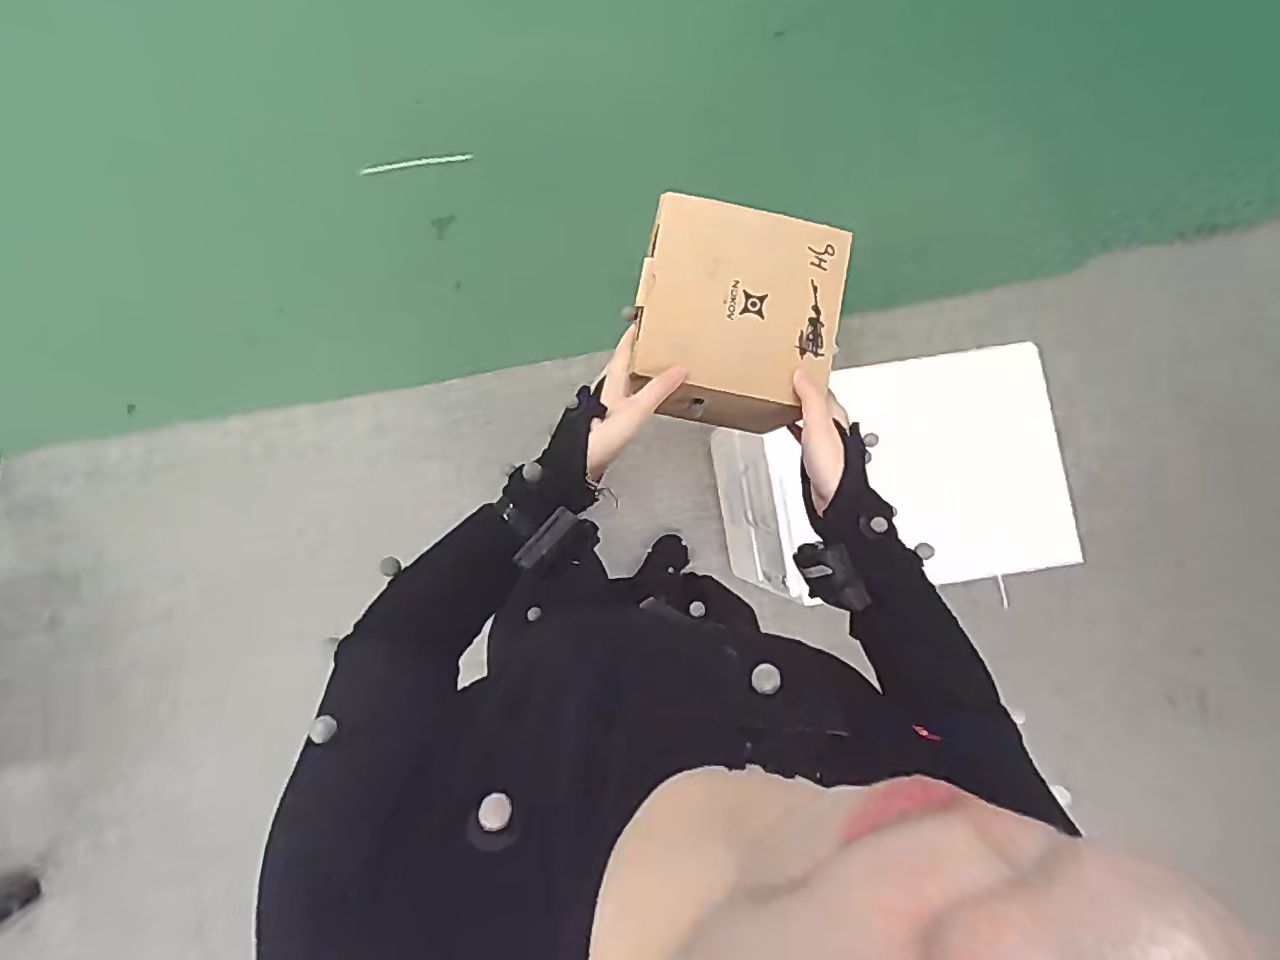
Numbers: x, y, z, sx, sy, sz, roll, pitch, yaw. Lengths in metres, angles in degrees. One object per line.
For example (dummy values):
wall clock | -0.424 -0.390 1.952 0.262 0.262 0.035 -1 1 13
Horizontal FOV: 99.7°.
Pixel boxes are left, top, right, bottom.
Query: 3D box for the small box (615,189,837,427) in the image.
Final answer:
small box | 0.072 -0.155 0.549 0.179 0.176 0.168 9 86 -4
